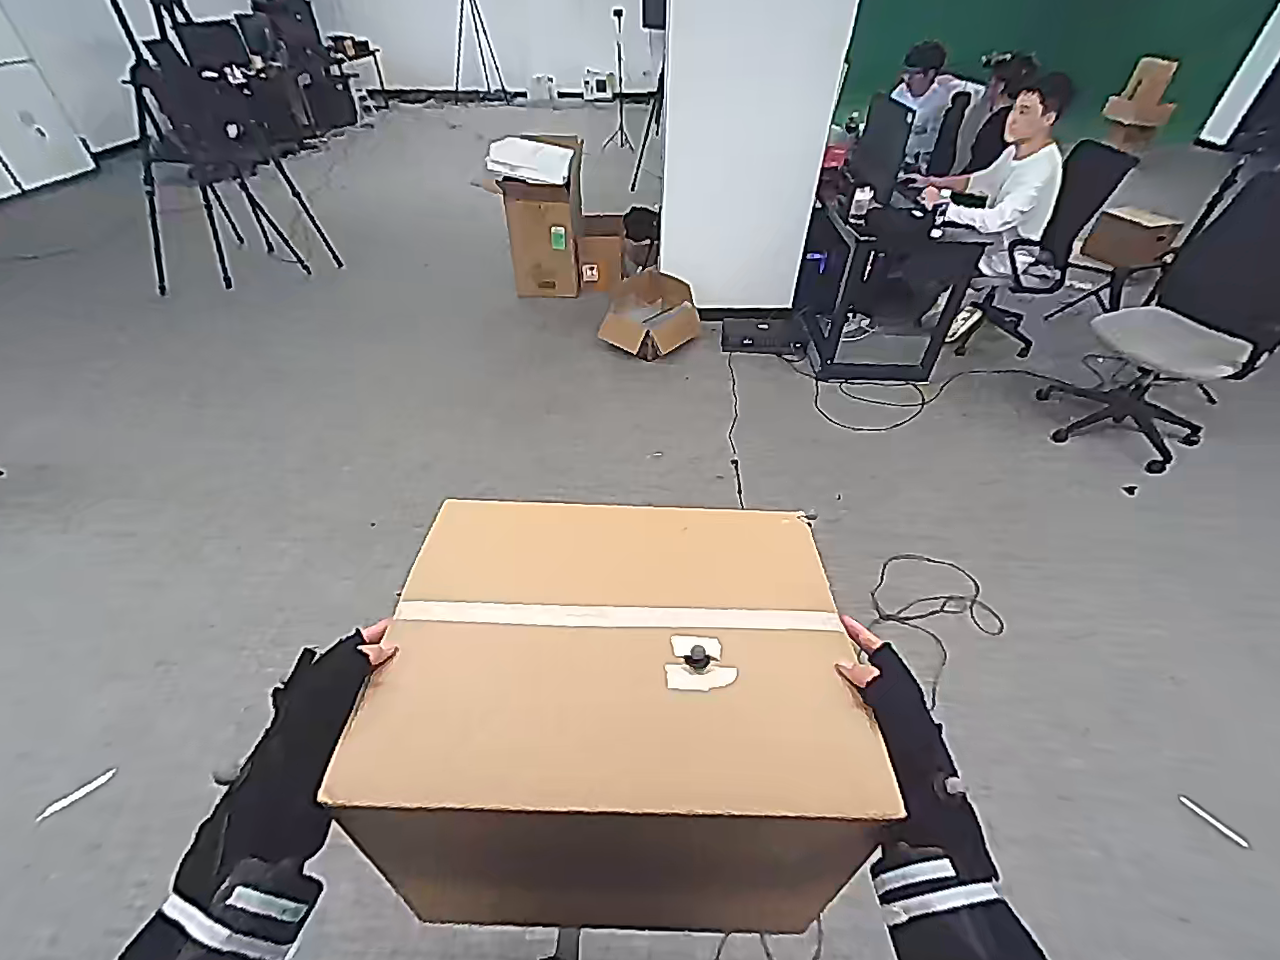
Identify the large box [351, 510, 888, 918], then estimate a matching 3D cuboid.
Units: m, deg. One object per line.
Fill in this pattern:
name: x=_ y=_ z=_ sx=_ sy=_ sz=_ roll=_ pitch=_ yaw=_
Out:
large box: x=-0.020 y=0.252 z=0.600 sx=0.408 sy=0.320 sz=0.320 roll=2 pitch=39 yaw=-1
